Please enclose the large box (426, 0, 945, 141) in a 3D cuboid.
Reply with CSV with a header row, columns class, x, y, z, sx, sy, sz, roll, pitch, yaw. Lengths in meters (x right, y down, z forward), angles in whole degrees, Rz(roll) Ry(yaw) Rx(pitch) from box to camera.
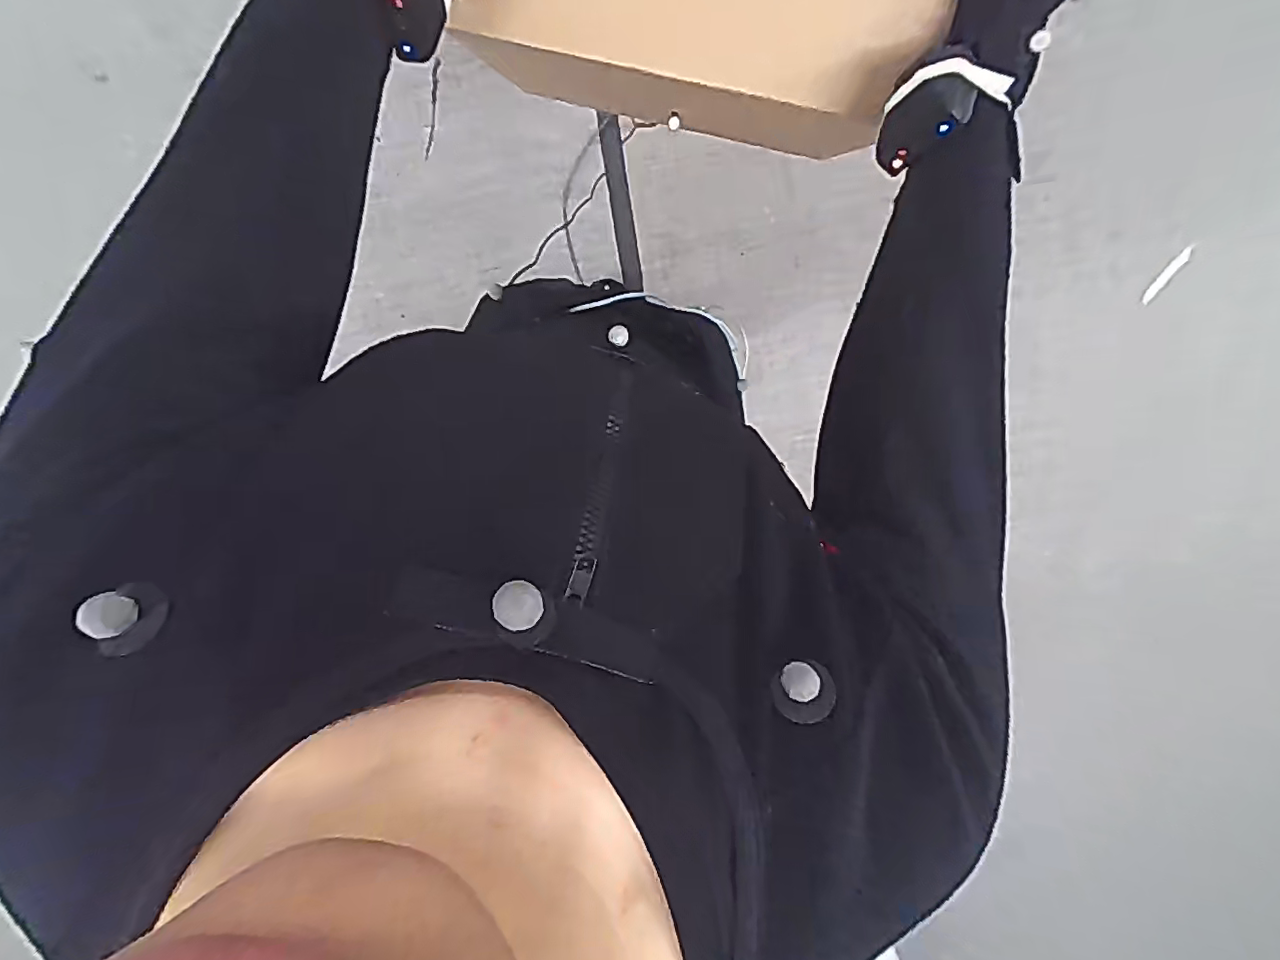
class,x,y,z,sx,sy,sz,roll,pitch,yaw
large box,0.060,-0.536,0.498,0.408,0.320,0.320,11,116,-2
